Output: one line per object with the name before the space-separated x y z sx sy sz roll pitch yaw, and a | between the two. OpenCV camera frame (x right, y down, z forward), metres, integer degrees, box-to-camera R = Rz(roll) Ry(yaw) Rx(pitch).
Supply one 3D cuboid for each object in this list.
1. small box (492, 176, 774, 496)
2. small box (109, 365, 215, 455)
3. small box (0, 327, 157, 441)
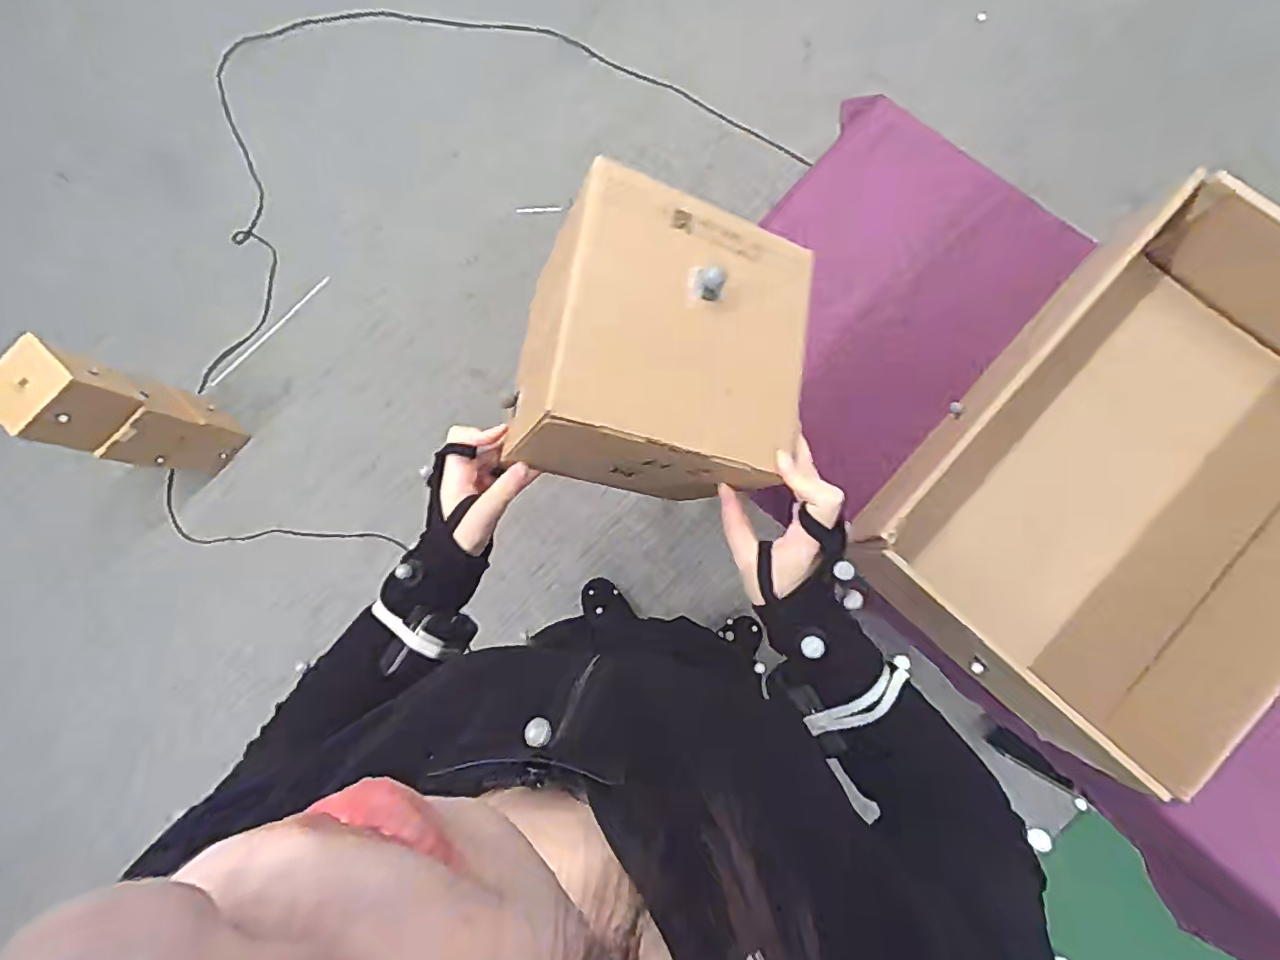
small box | -0.010 -0.092 0.431 0.168 0.179 0.176 12 78 -20
small box | -1.288 -0.181 1.426 0.179 0.176 0.168 42 87 9
small box | -1.297 -0.217 1.267 0.168 0.176 0.179 42 88 9
